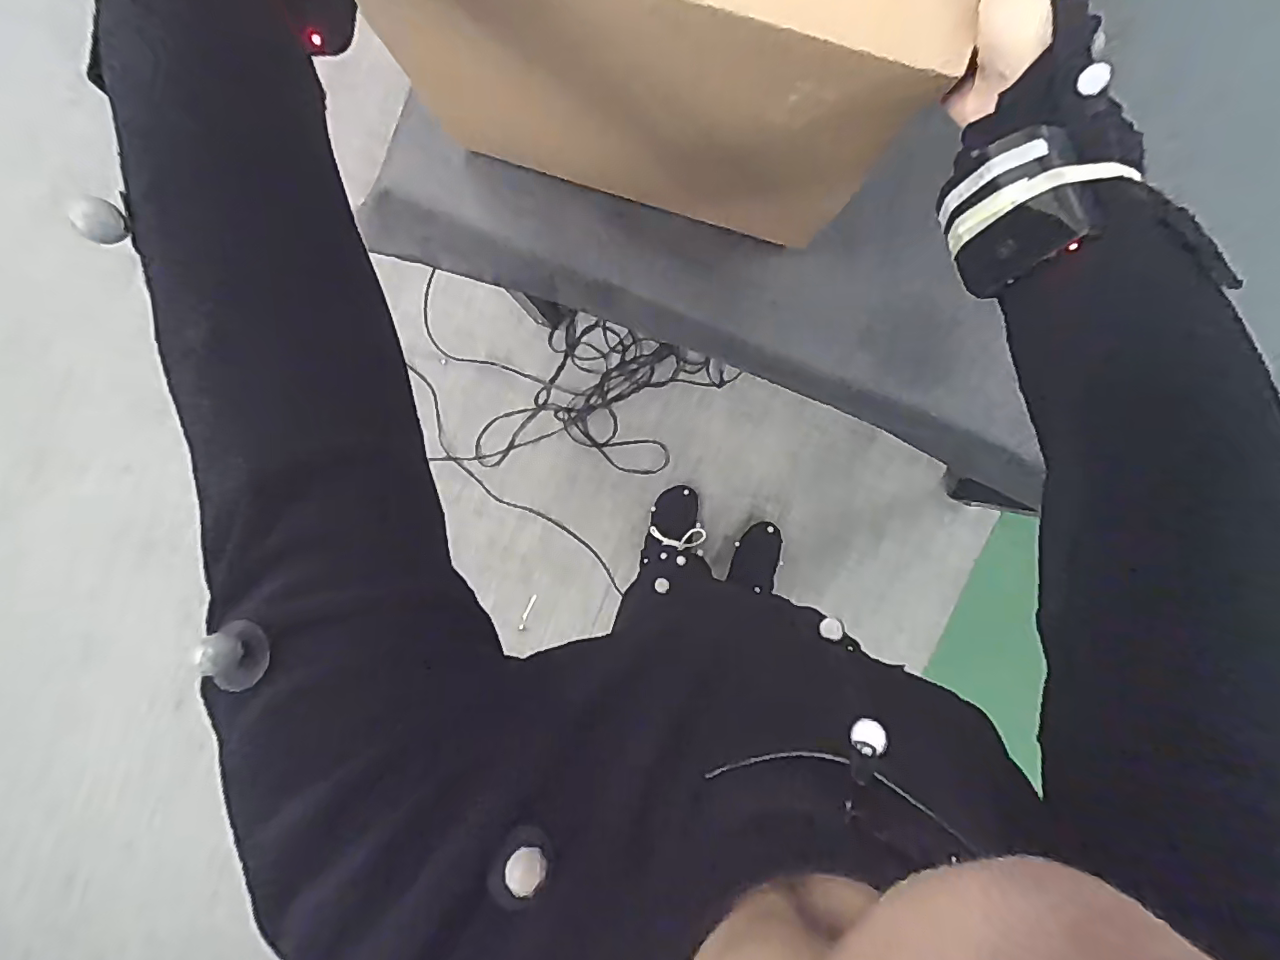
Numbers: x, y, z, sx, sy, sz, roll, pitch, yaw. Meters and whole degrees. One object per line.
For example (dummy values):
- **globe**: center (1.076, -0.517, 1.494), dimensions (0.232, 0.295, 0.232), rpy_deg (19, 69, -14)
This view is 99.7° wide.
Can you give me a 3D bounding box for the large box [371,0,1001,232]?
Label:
- **large box**: center (0.034, -0.442, 0.421), dimensions (0.408, 0.320, 0.320), rpy_deg (15, 98, -1)
